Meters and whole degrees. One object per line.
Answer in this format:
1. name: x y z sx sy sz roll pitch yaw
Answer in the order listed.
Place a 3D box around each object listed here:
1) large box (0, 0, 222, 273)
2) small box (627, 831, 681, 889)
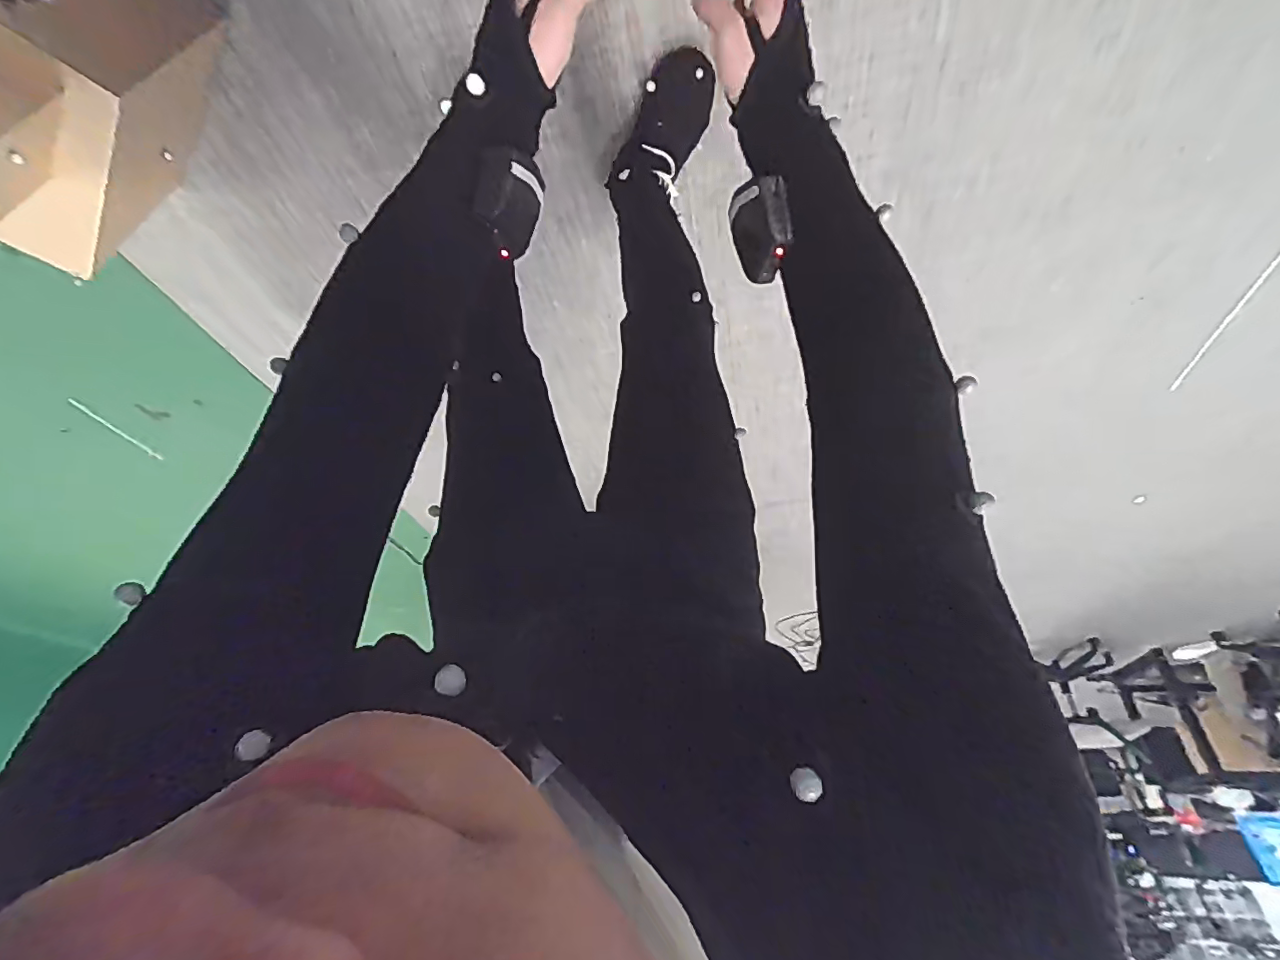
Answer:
1. large box: -0.905 -0.616 0.810 0.320 0.320 0.408 31 137 -34
2. small box: 0.053 1.381 1.973 0.168 0.176 0.179 -6 145 13
